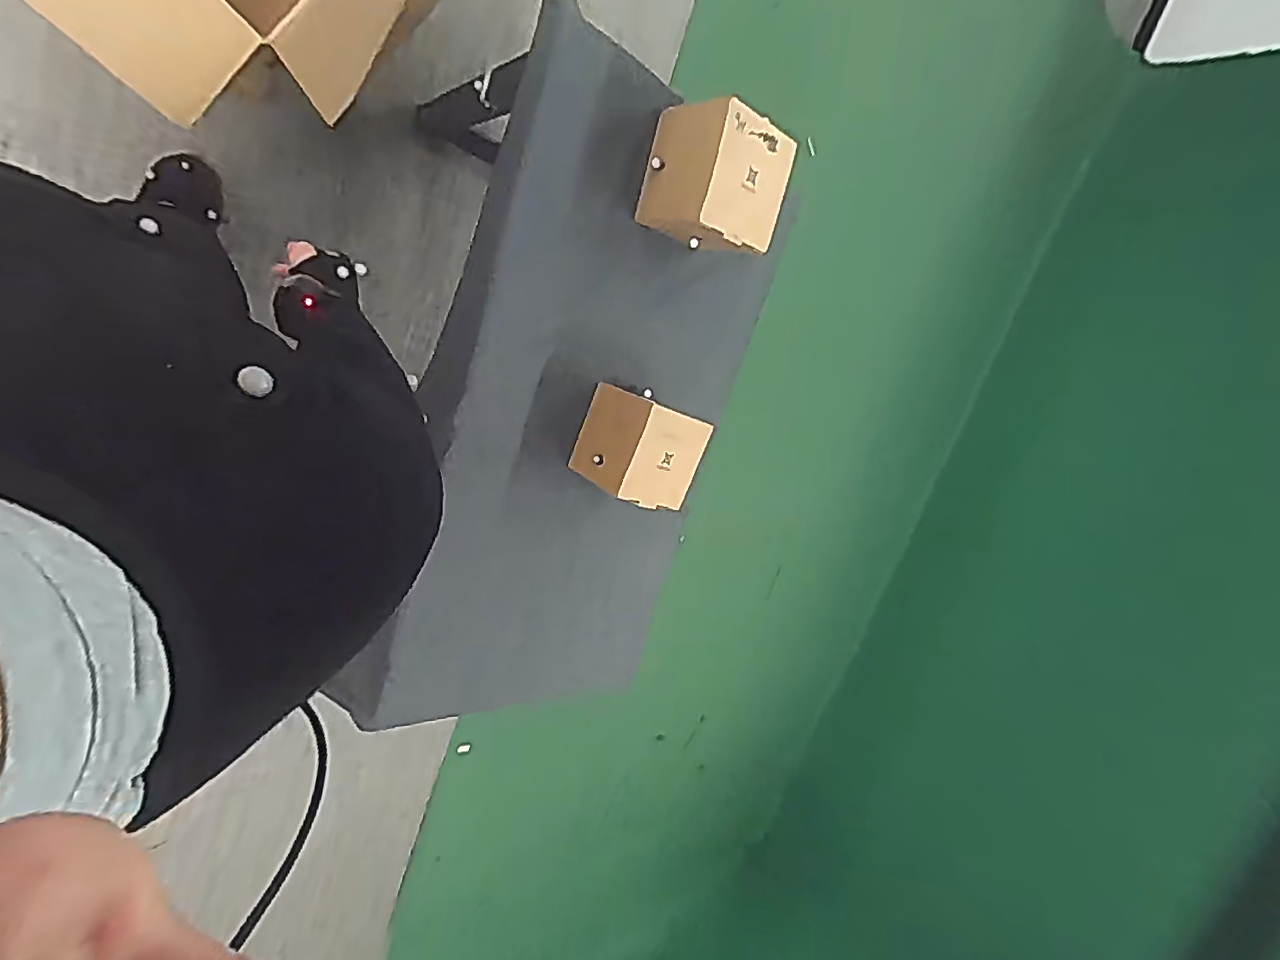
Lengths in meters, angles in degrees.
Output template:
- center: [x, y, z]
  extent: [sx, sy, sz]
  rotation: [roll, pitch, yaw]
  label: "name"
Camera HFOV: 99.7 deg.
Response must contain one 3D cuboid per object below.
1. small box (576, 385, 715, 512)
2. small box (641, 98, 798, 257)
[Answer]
- center: [0.003, -0.059, 1.012]
  extent: [0.168, 0.176, 0.179]
  rotation: [12, 102, -44]
  label: "small box"
- center: [0.123, -0.490, 0.897]
  extent: [0.168, 0.176, 0.179]
  rotation: [2, 111, -40]
  label: "small box"
